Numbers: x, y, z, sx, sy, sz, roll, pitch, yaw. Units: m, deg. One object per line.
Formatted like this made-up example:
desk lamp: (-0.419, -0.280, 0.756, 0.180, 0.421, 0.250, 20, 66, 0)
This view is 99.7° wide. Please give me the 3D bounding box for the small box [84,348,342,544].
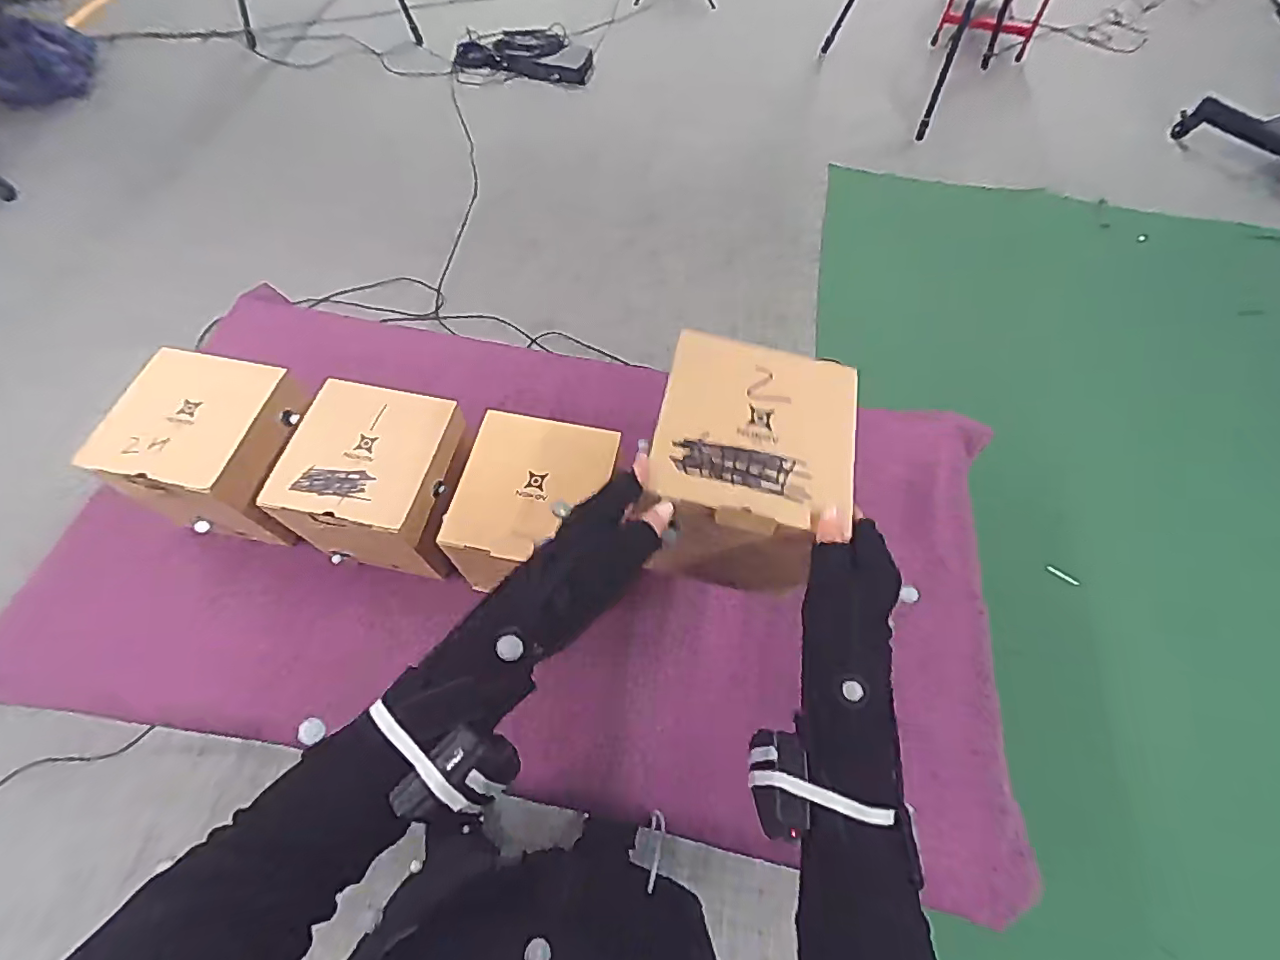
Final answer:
small box: (-0.525, -0.039, 0.704, 0.168, 0.176, 0.179, 10, 63, 4)
